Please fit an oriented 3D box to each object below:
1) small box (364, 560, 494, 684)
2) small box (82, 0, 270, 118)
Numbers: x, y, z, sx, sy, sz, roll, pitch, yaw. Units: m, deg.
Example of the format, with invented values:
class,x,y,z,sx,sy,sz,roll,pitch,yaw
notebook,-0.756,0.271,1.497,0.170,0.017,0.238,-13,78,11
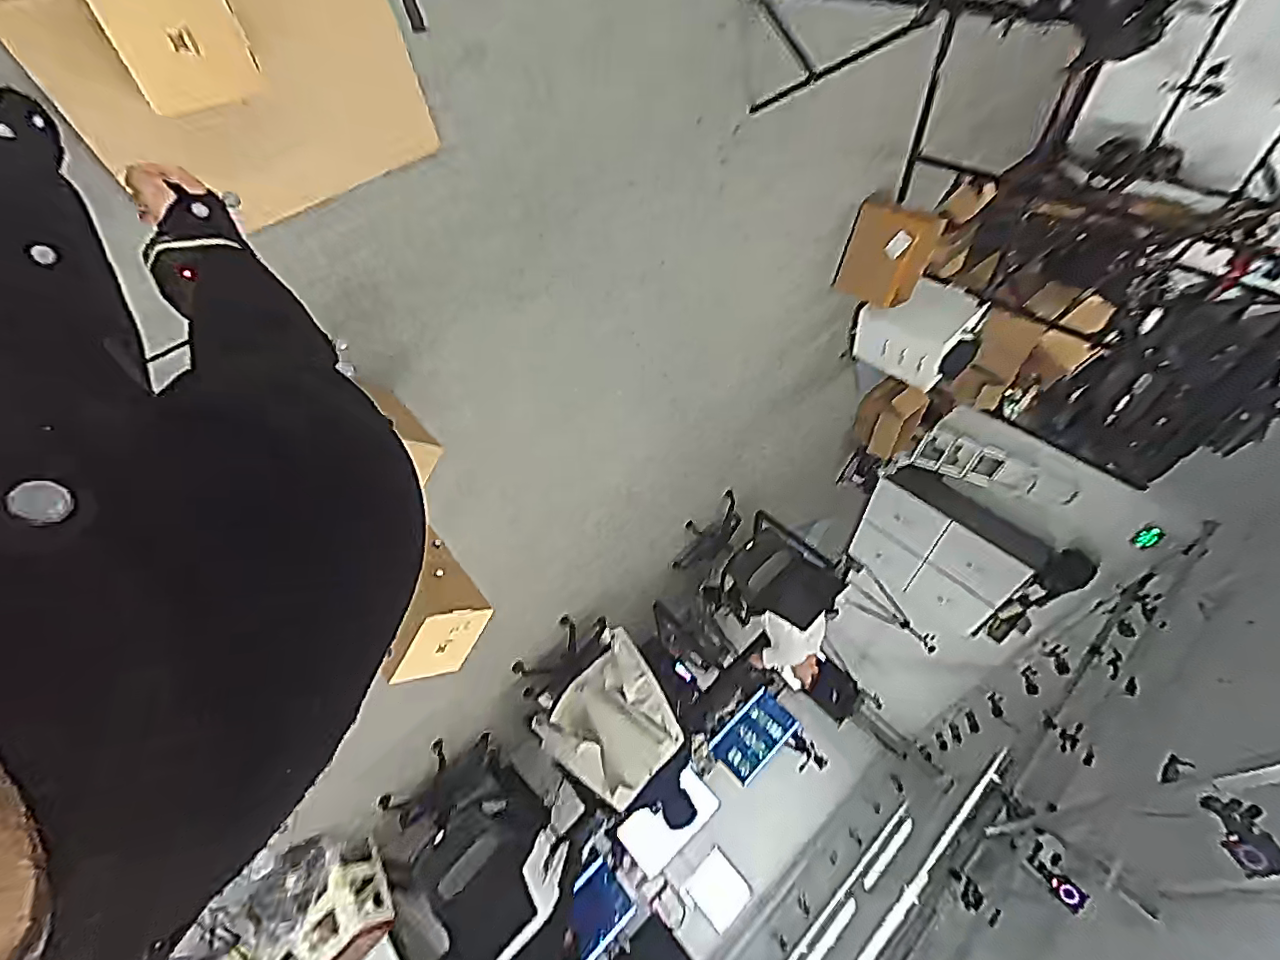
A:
class,x,y,z,sx,sy,sz,roll,pitch,yaw
small box,-0.445,0.288,1.128,0.168,0.176,0.179,12,114,-57
small box,-0.752,-0.710,0.875,0.179,0.176,0.168,-35,144,-25
